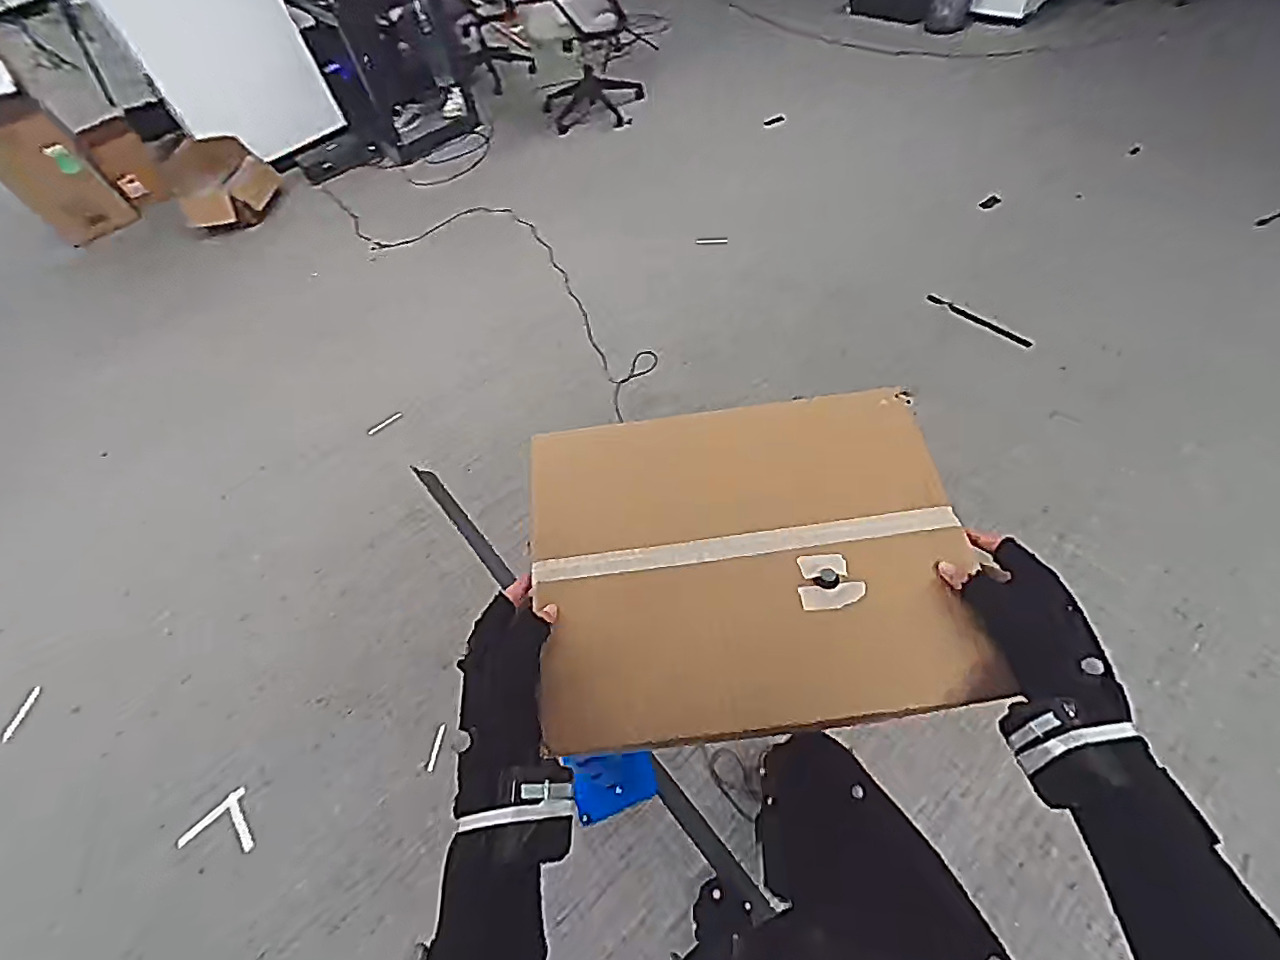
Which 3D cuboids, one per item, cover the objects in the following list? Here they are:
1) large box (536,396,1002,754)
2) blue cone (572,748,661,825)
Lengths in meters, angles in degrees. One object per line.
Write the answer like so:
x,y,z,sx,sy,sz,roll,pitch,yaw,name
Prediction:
0.107,0.136,0.662,0.408,0.320,0.320,-7,63,1,large box
-0.088,0.616,1.184,0.193,0.380,0.192,-22,56,-4,blue cone
